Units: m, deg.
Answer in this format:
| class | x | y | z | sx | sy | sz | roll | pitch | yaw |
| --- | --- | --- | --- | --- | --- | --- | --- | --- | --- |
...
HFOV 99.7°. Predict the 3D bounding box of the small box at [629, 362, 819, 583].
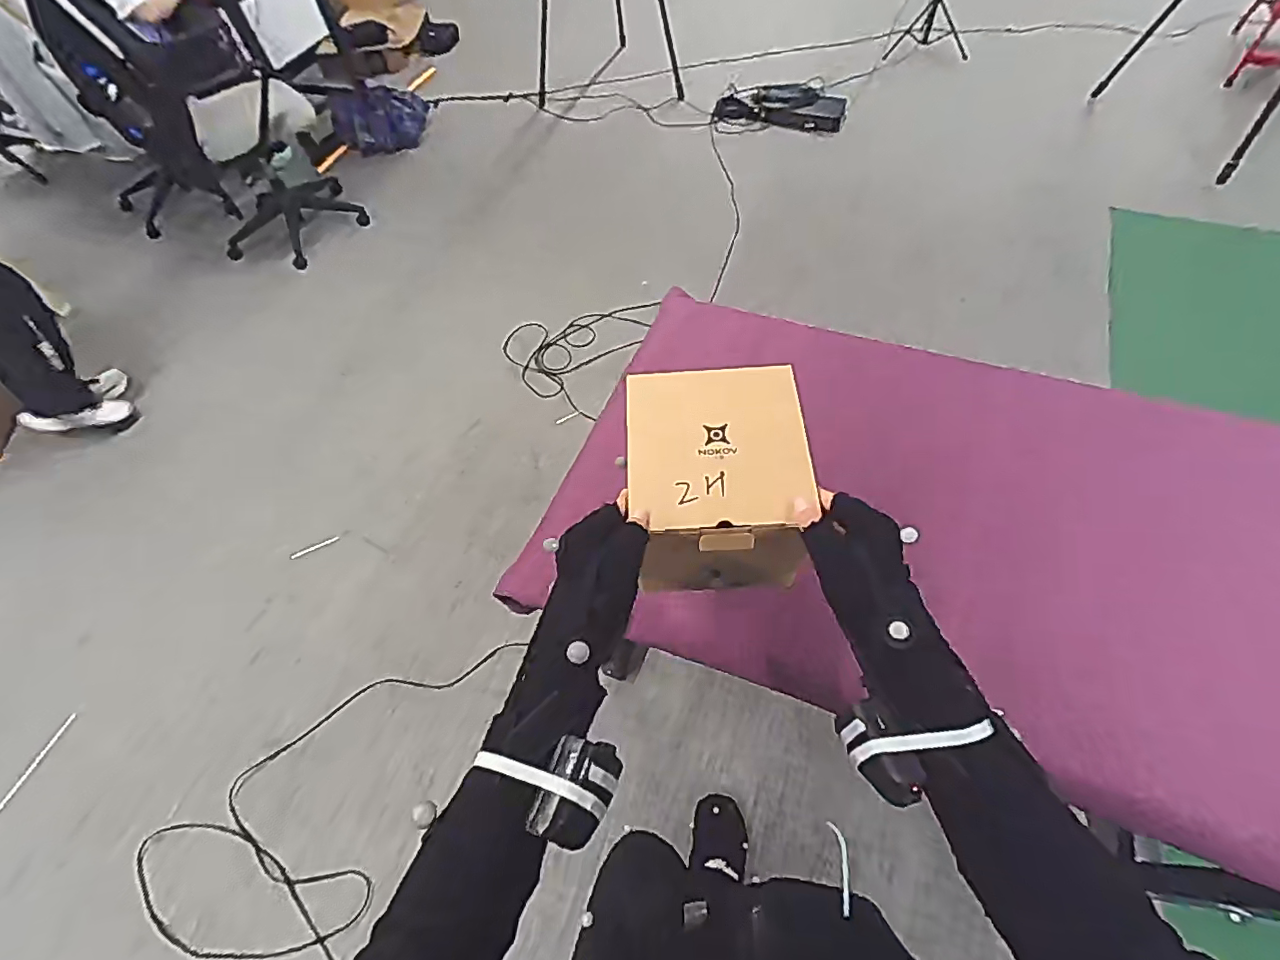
| class | x | y | z | sx | sy | sz | roll | pitch | yaw |
| --- | --- | --- | --- | --- | --- | --- | --- | --- | --- |
| small box | 0.077 | -0.001 | 0.573 | 0.168 | 0.176 | 0.179 | -3 | 62 | 4 |
